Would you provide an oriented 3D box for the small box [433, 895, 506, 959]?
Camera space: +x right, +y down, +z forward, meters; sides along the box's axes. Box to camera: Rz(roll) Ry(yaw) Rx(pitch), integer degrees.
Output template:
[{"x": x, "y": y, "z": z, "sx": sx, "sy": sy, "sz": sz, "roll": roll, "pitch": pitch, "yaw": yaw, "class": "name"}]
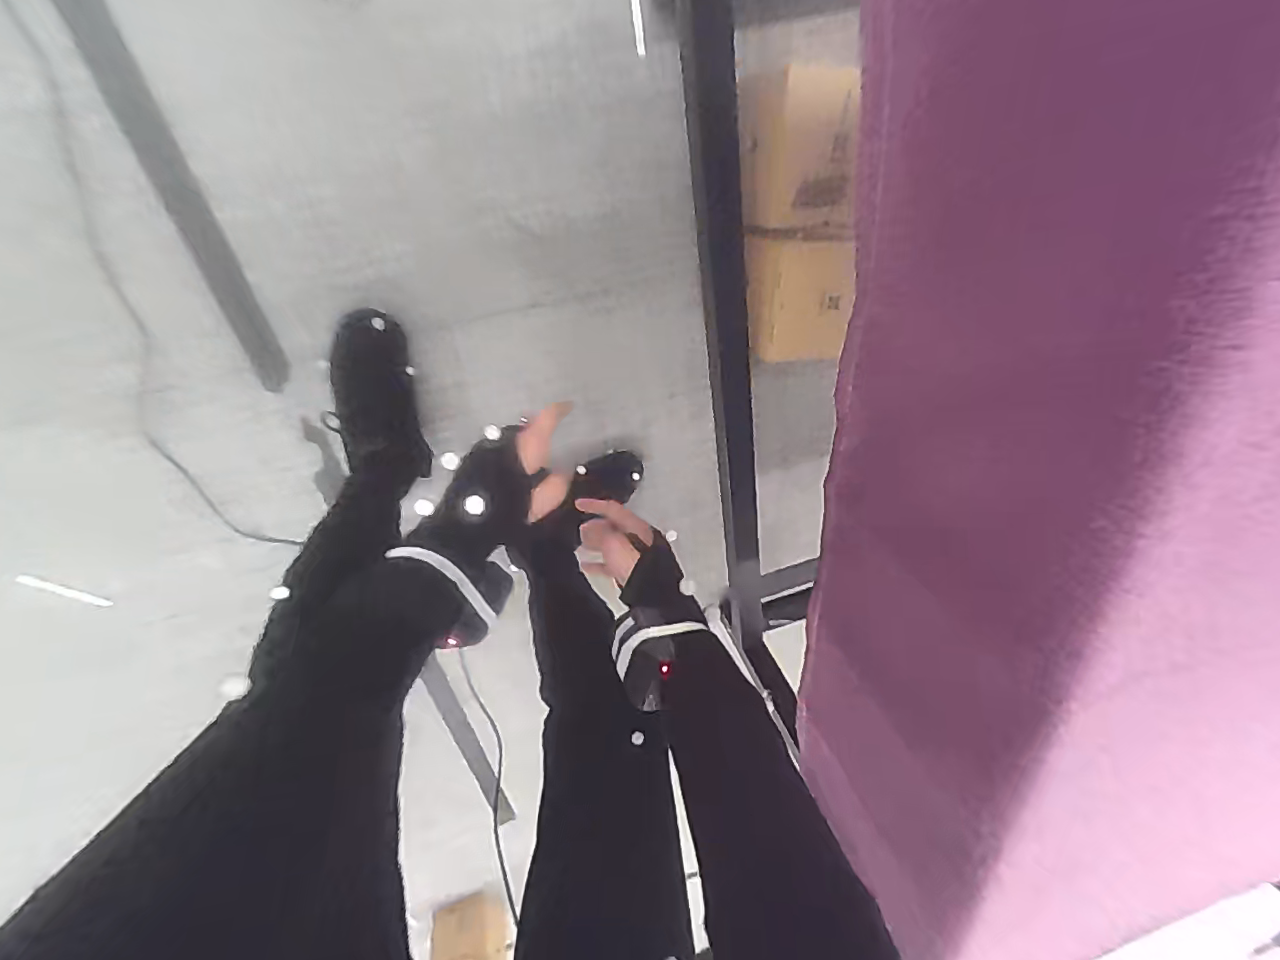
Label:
[{"x": -0.500, "y": 1.382, "z": 1.610, "sx": 0.168, "sy": 0.176, "sz": 0.179, "roll": -17, "pitch": 122, "yaw": -5, "class": "small box"}]
